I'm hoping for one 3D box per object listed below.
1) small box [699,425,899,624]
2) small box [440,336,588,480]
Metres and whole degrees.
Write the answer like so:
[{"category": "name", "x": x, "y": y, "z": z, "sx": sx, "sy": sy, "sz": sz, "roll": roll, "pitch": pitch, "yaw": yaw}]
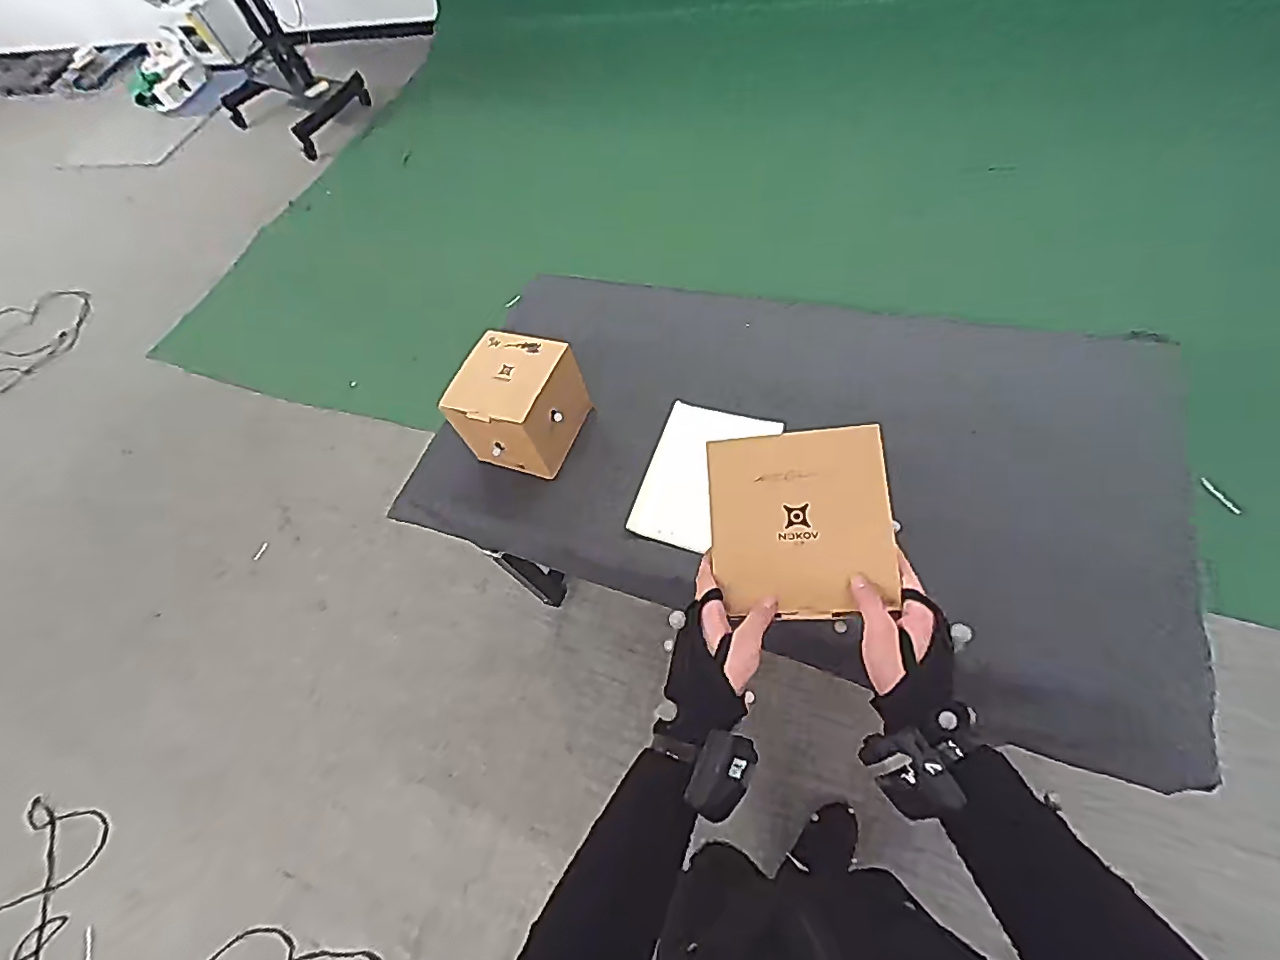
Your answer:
[{"category": "small box", "x": 0.158, "y": 0.059, "z": 0.569, "sx": 0.168, "sy": 0.176, "sz": 0.179, "roll": -5, "pitch": 73, "yaw": 12}, {"category": "small box", "x": -0.209, "y": -0.123, "z": 0.958, "sx": 0.168, "sy": 0.176, "sz": 0.179, "roll": 15, "pitch": 64, "yaw": 19}]
